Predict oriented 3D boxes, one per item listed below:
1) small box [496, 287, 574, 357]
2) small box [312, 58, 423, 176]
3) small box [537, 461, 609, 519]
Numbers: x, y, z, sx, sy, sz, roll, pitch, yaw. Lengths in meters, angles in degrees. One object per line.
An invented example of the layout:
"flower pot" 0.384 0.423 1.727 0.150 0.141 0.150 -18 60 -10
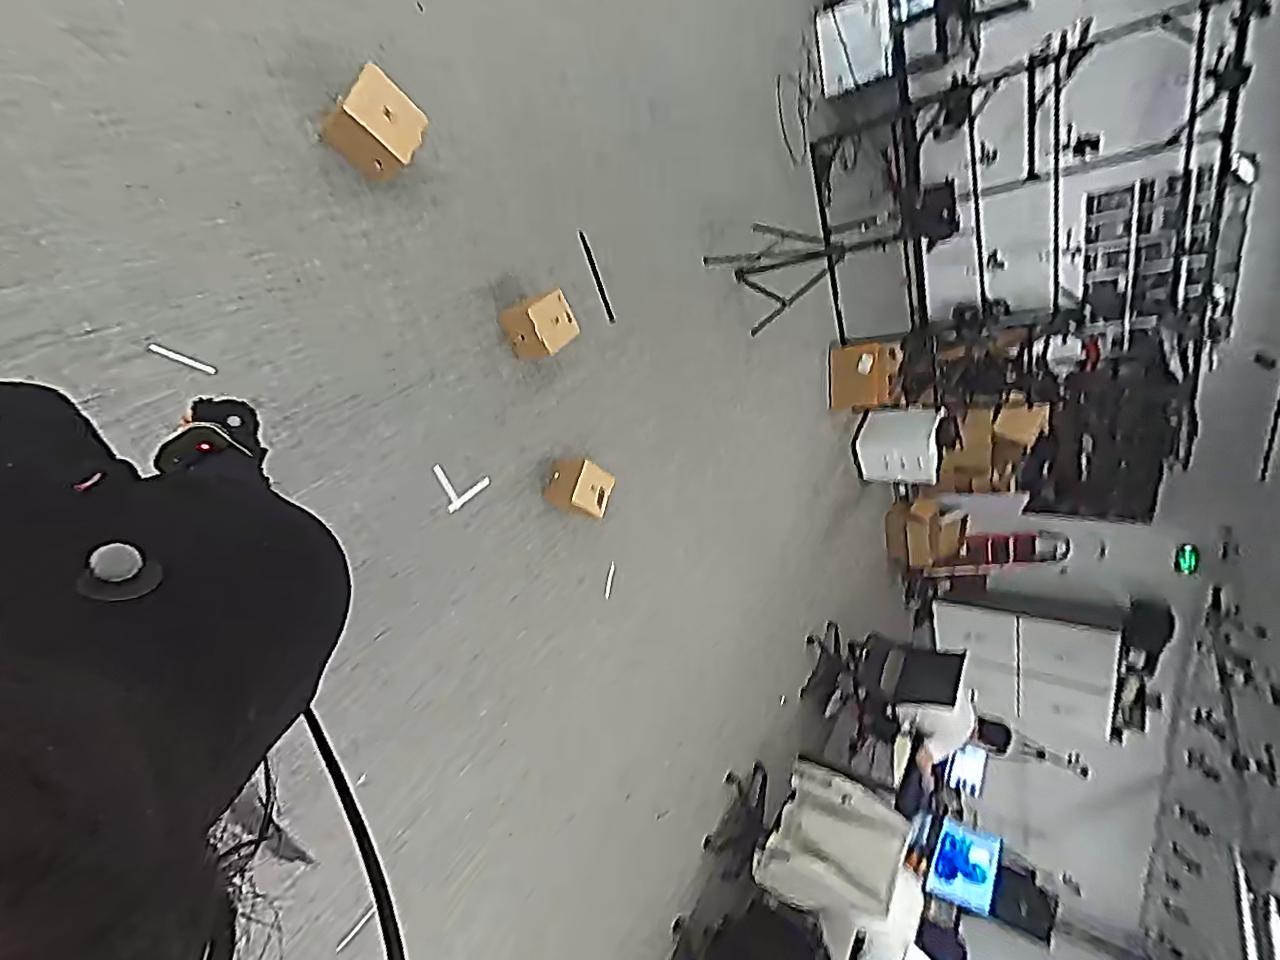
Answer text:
"small box" -0.366 -0.536 1.854 0.179 0.176 0.168 -50 128 -35
"small box" -0.711 -0.930 1.410 0.179 0.176 0.168 33 66 -46
"small box" -0.253 0.032 2.032 0.179 0.176 0.168 36 65 -44
